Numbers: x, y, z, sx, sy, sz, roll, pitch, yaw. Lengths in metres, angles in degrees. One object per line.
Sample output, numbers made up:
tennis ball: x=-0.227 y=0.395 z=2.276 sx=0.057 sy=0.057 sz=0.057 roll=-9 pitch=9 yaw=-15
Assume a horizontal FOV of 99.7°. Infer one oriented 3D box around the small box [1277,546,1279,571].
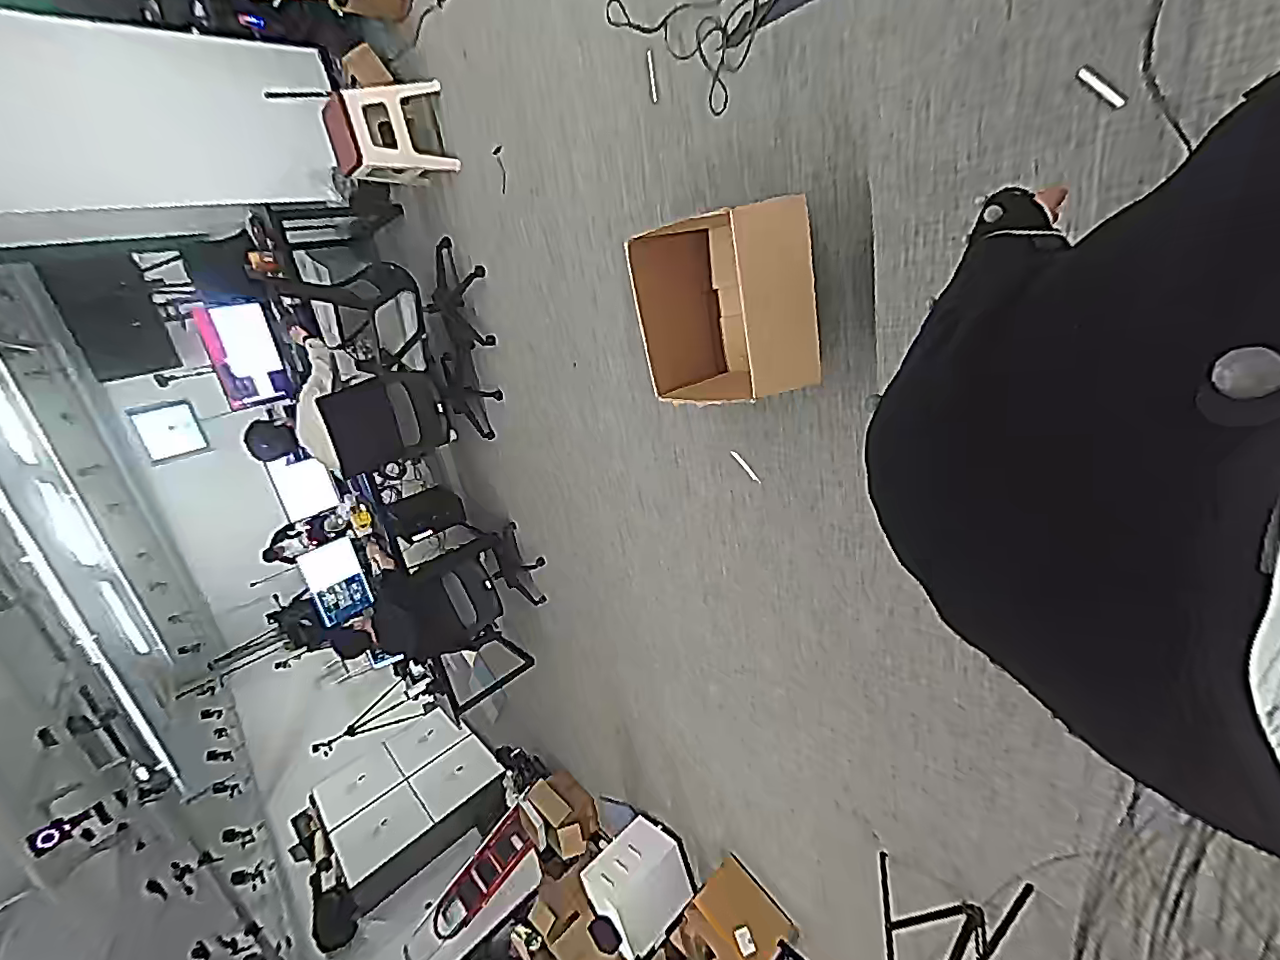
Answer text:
small box: x=1.211 y=0.072 z=0.893 sx=0.179 sy=0.176 sz=0.168 roll=16 pitch=120 yaw=47
